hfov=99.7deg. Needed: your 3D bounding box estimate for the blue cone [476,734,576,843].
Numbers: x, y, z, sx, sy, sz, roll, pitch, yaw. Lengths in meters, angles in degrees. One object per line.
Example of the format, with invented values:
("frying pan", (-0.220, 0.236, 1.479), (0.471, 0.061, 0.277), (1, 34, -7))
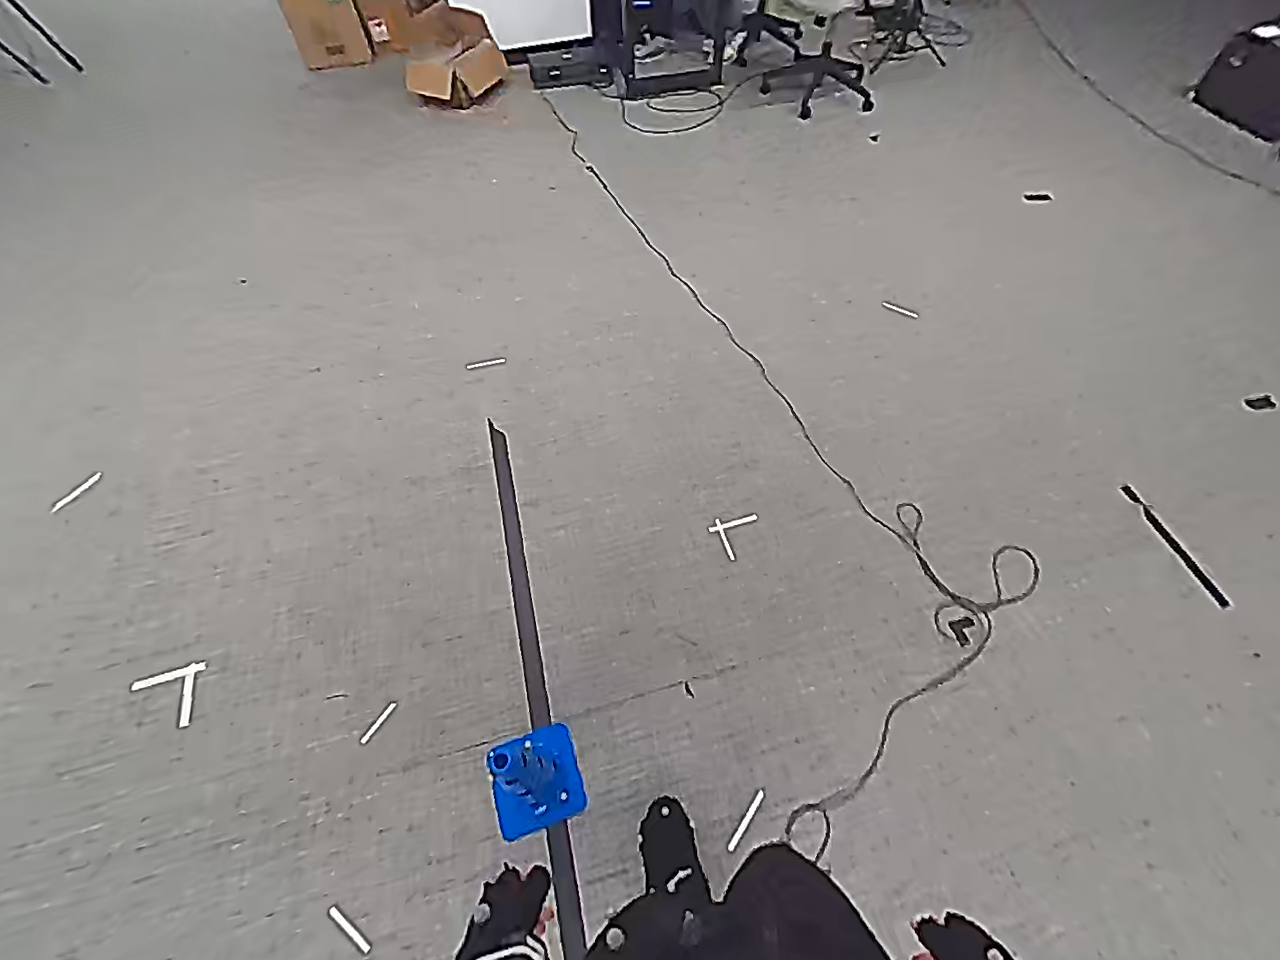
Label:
("blue cone", (-0.258, 0.614, 1.112), (0.192, 0.380, 0.193), (-17, 57, -9))
